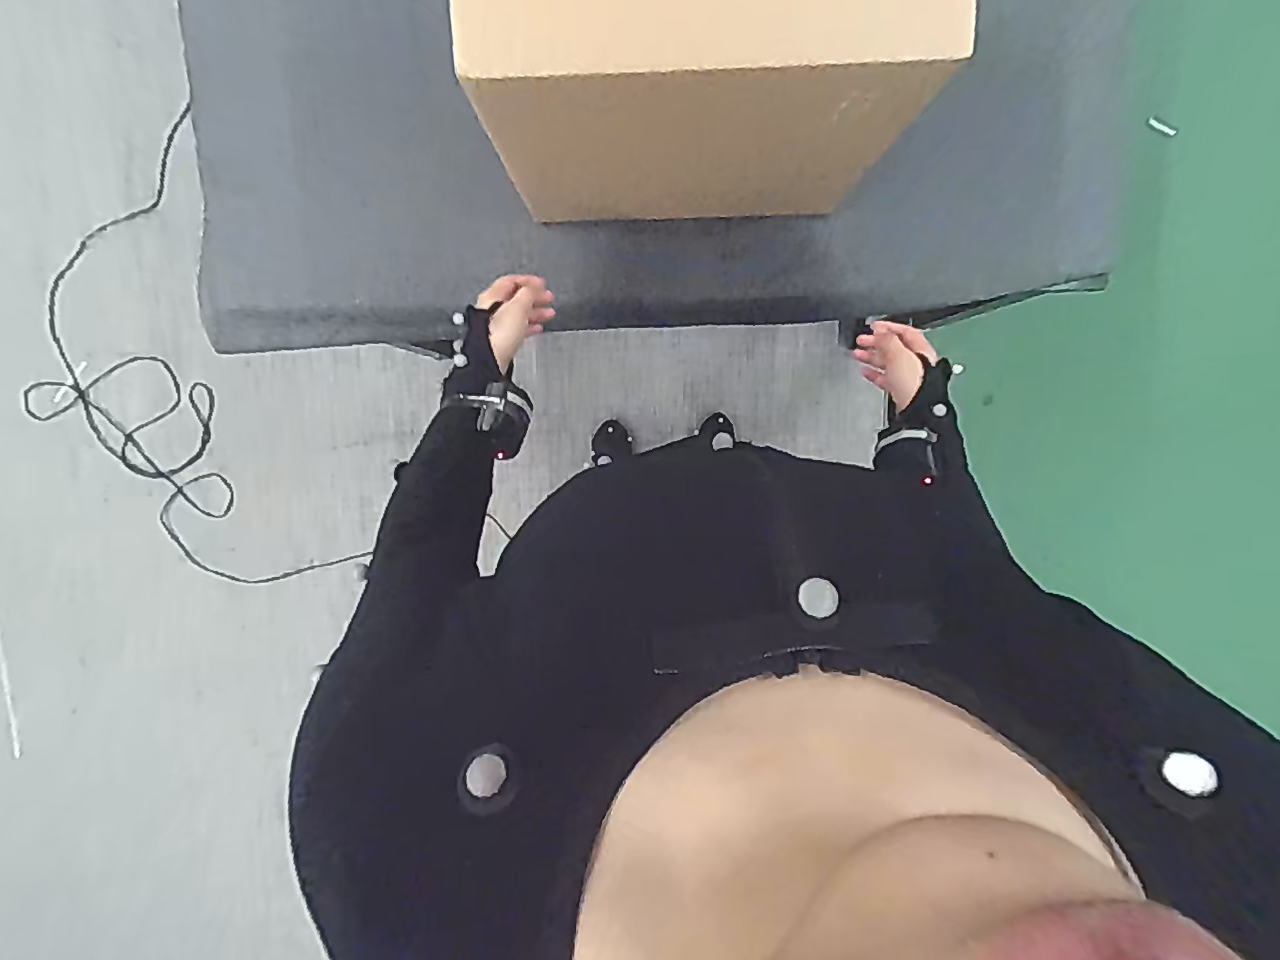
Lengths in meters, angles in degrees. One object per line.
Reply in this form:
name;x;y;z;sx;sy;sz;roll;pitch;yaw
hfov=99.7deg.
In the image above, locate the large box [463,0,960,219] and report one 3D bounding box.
large box;0.049;-0.498;0.567;0.408;0.320;0.320;-3;97;0
